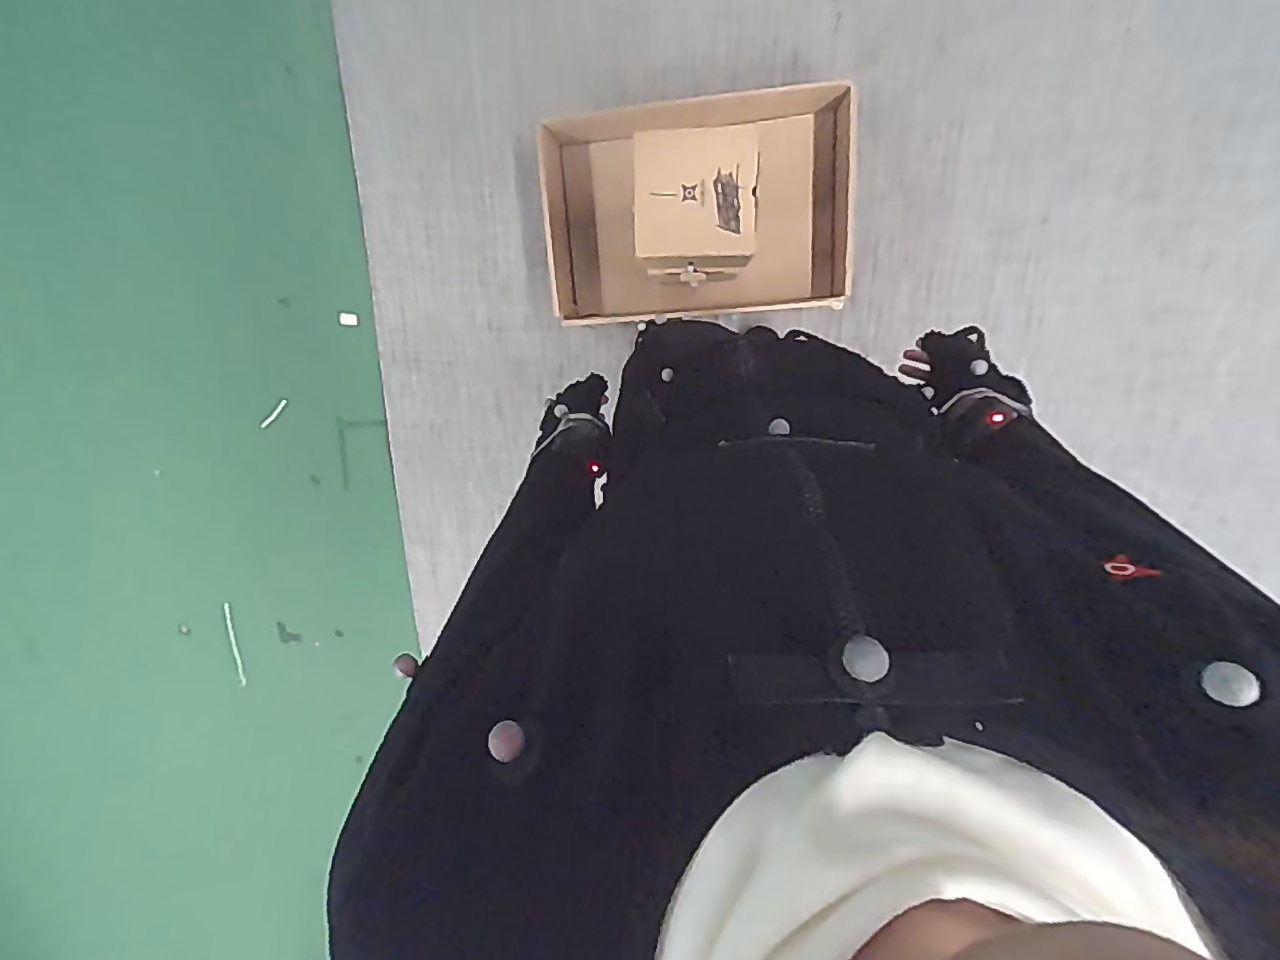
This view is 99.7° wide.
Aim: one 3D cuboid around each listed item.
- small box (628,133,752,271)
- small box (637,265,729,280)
[{"bbox_3d":[0.077,-0.430,0.857,0.179,0.176,0.168,2,105,6],"label":"small box"},{"bbox_3d":[0.085,-0.466,1.001,0.168,0.176,0.179,2,107,6],"label":"small box"}]
